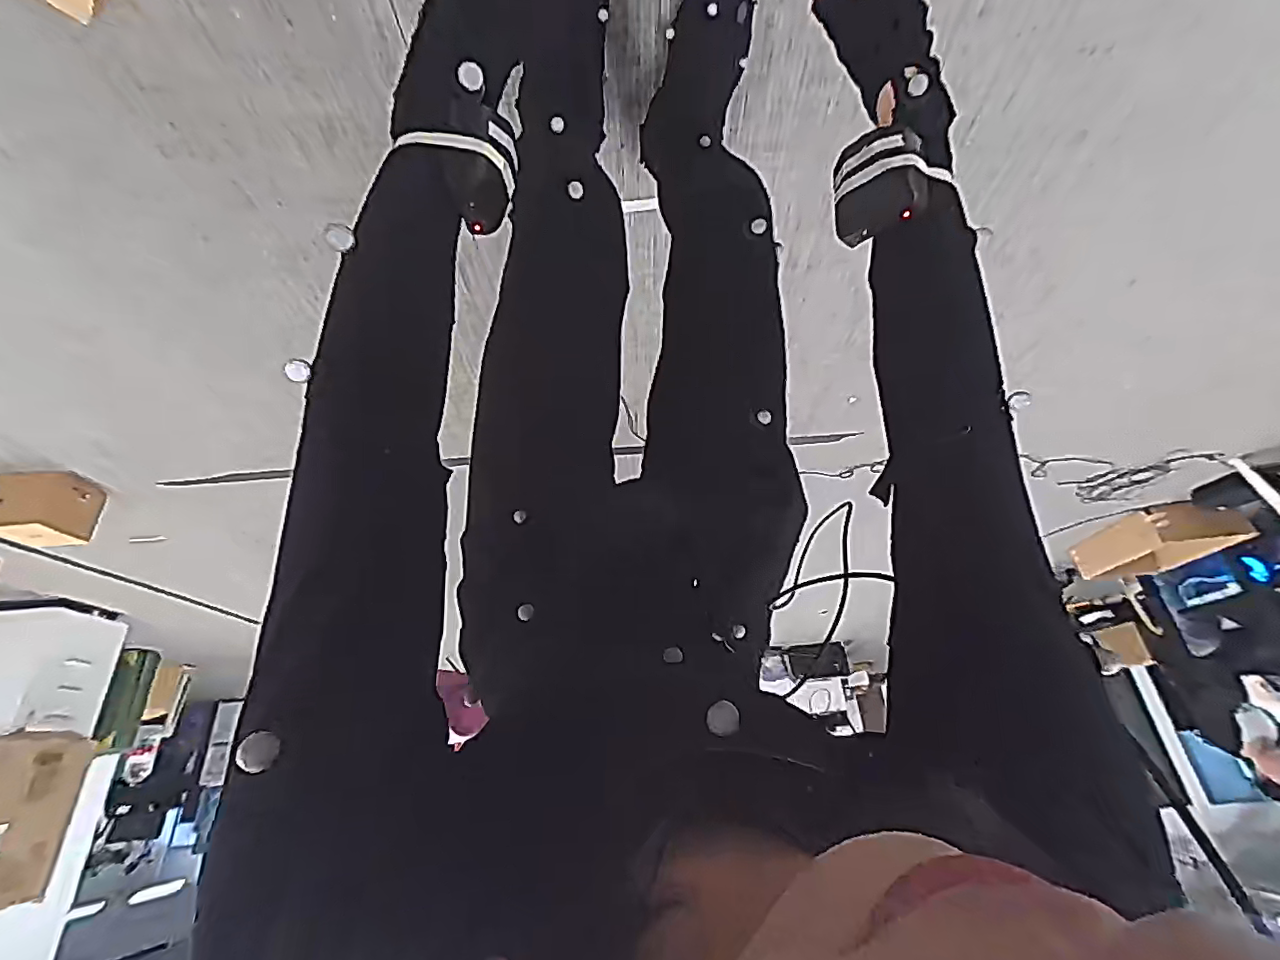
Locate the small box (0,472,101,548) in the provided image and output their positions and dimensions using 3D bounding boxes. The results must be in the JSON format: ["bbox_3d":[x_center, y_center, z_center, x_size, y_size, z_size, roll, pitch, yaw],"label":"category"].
[{"bbox_3d":[-1.772,0.088,1.599,0.179,0.176,0.168,-5,154,-1],"label":"small box"}]
